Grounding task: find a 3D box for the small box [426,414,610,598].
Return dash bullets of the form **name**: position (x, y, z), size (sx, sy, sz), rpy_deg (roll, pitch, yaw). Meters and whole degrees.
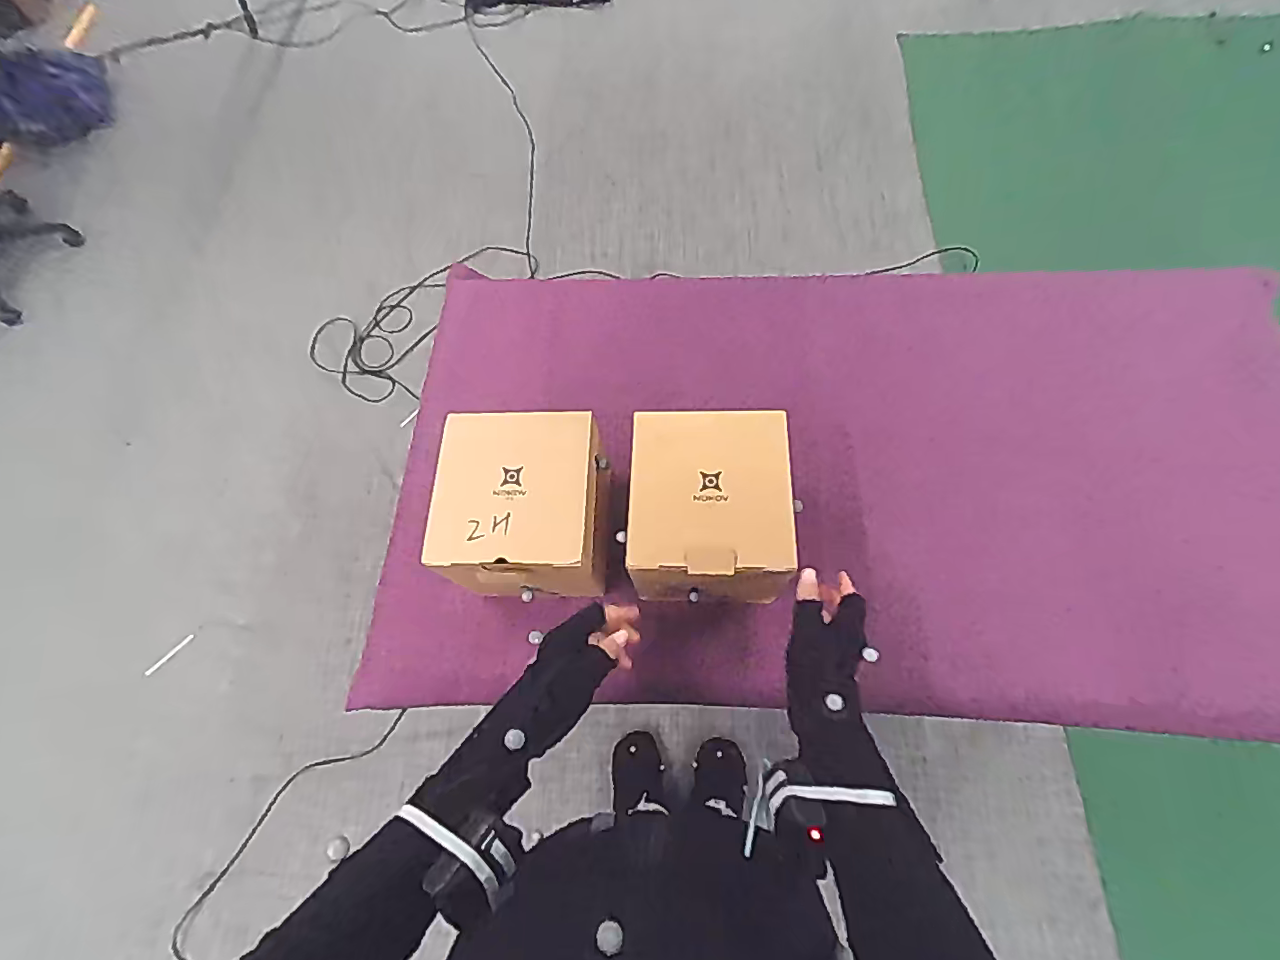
- **small box**: position (-0.128, 0.037, 0.648), size (0.168, 0.176, 0.179), rpy_deg (0, 67, 5)
